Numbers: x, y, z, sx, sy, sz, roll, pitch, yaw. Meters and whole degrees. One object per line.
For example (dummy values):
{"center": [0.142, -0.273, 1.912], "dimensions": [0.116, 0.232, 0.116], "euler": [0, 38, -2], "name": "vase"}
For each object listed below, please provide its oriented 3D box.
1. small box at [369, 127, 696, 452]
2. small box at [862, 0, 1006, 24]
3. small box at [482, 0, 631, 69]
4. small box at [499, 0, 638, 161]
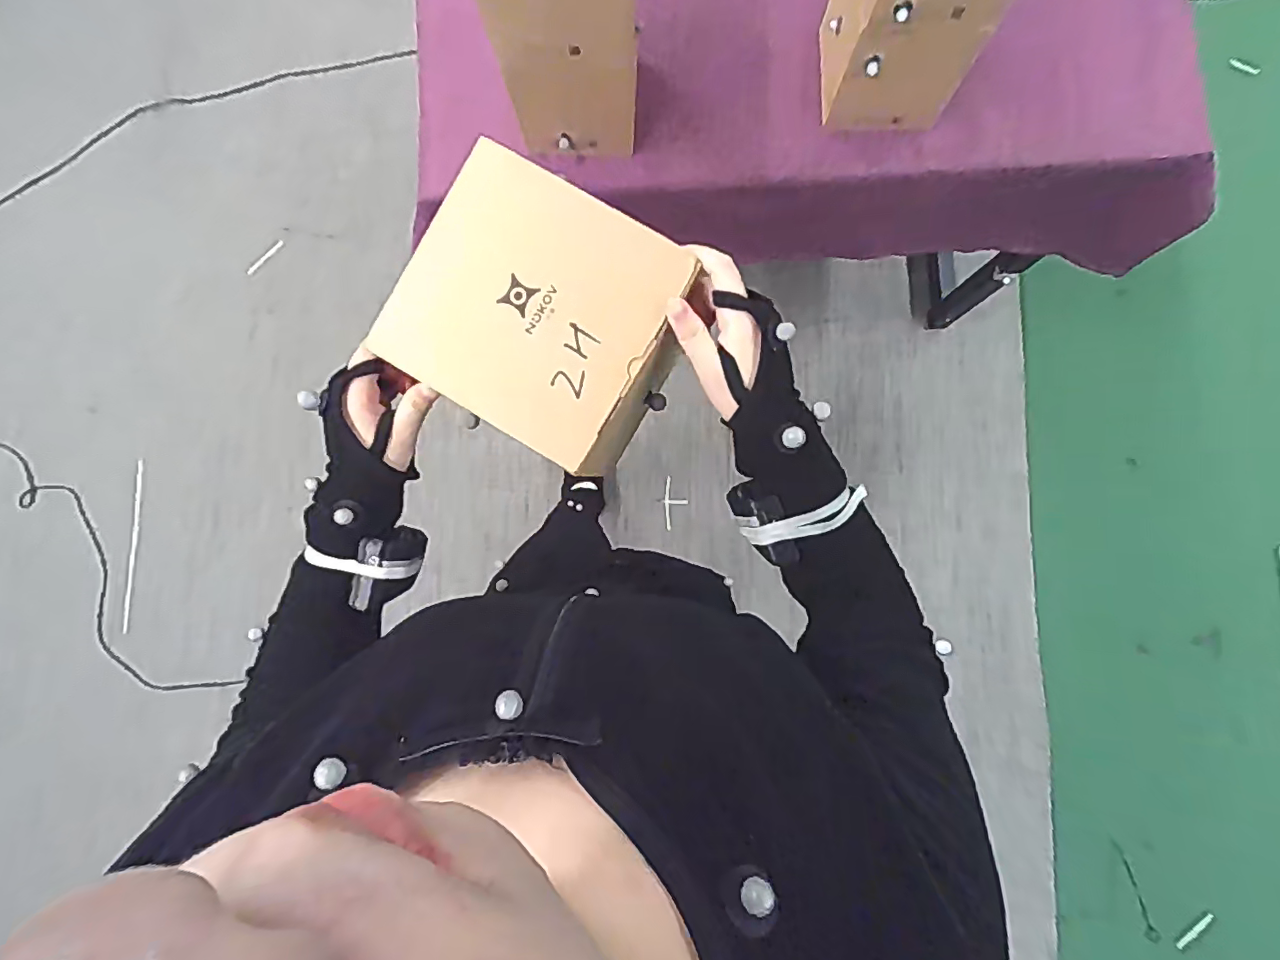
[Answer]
{"center": [-0.068, -0.130, 0.442], "dimensions": [0.179, 0.176, 0.168], "euler": [29, 94, 5], "name": "small box"}
{"center": [0.351, -0.650, 0.597], "dimensions": [0.168, 0.176, 0.179], "euler": [-3, 82, 2], "name": "small box"}
{"center": [-0.098, -0.614, 0.608], "dimensions": [0.168, 0.176, 0.179], "euler": [2, 83, 4], "name": "small box"}
{"center": [-0.091, -0.596, 0.772], "dimensions": [0.168, 0.176, 0.179], "euler": [3, 85, 3], "name": "small box"}
